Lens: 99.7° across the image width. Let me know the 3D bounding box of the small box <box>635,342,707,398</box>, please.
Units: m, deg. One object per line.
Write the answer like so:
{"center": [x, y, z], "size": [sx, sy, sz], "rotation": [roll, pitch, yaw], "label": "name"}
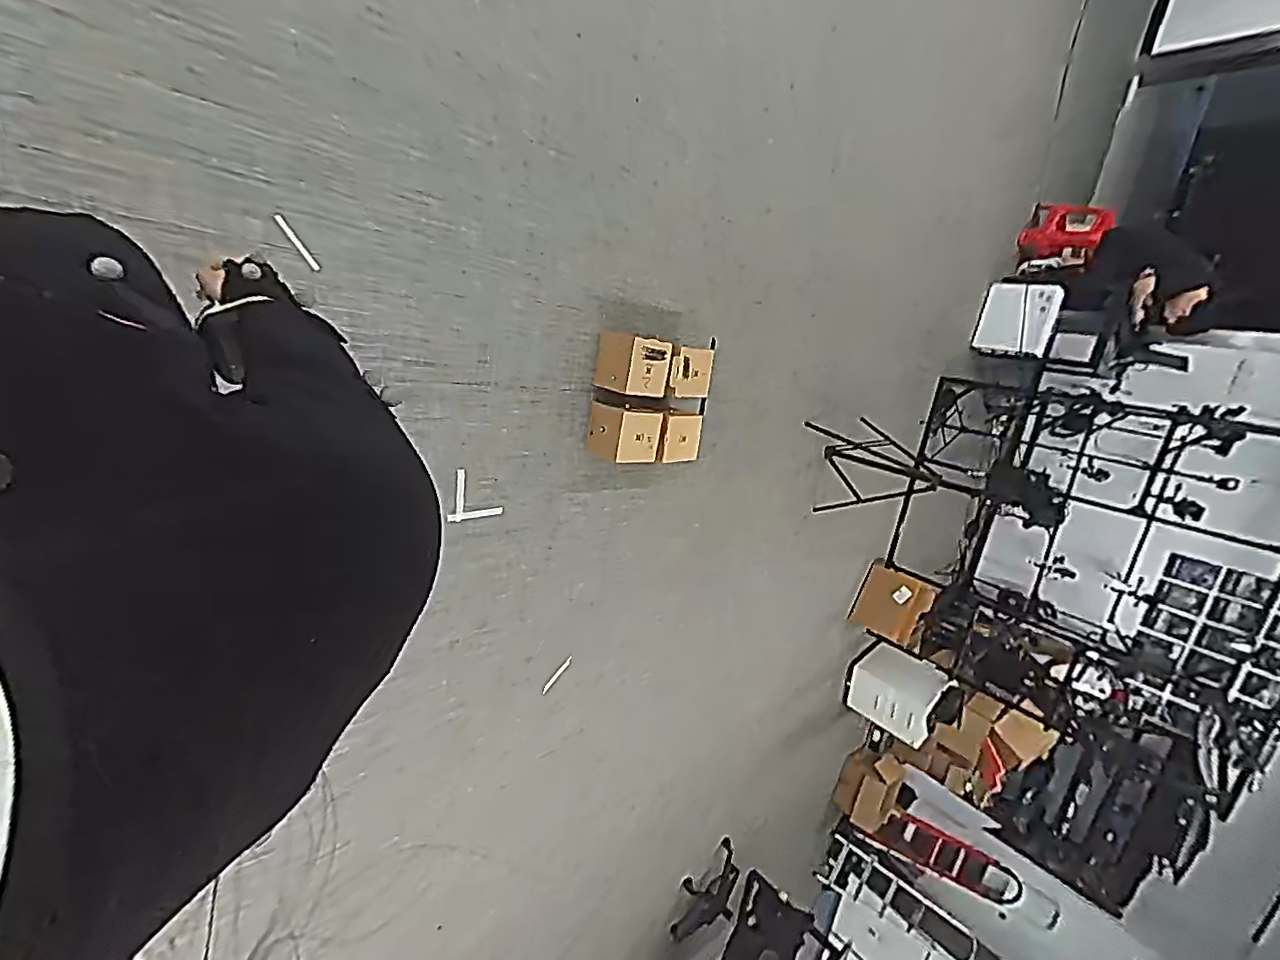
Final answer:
{"center": [0.103, -0.383, 1.883], "size": [0.179, 0.176, 0.168], "rotation": [-7, 112, -45], "label": "small box"}
